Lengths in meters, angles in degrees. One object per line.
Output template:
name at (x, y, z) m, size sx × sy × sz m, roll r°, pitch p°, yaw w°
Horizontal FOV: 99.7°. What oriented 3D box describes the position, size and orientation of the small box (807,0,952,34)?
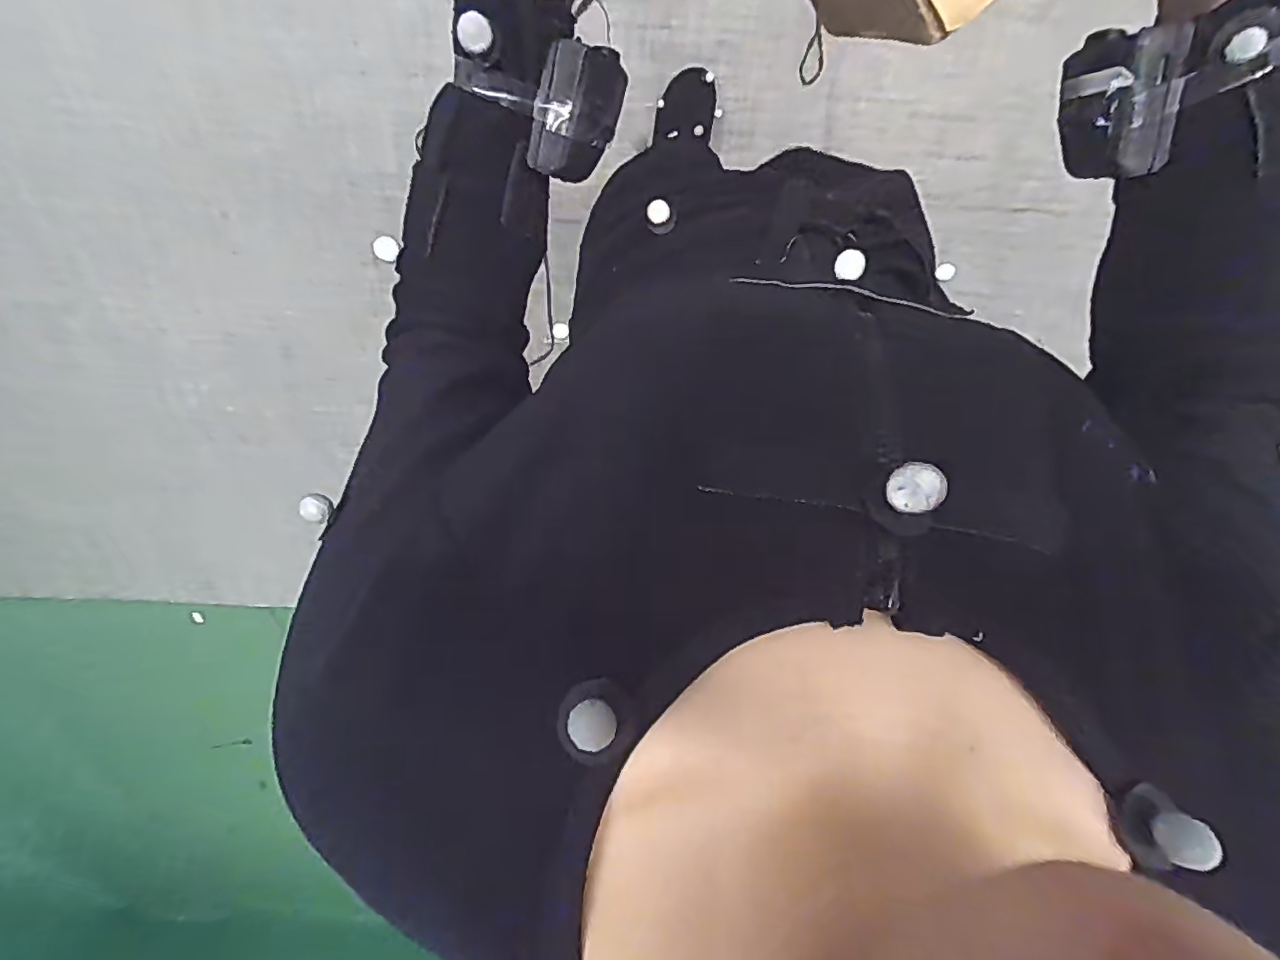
small box at (0.104, -0.287, 0.168) m, size 0.179 × 0.176 × 0.168 m, roll -35°, pitch 119°, yaw 29°
